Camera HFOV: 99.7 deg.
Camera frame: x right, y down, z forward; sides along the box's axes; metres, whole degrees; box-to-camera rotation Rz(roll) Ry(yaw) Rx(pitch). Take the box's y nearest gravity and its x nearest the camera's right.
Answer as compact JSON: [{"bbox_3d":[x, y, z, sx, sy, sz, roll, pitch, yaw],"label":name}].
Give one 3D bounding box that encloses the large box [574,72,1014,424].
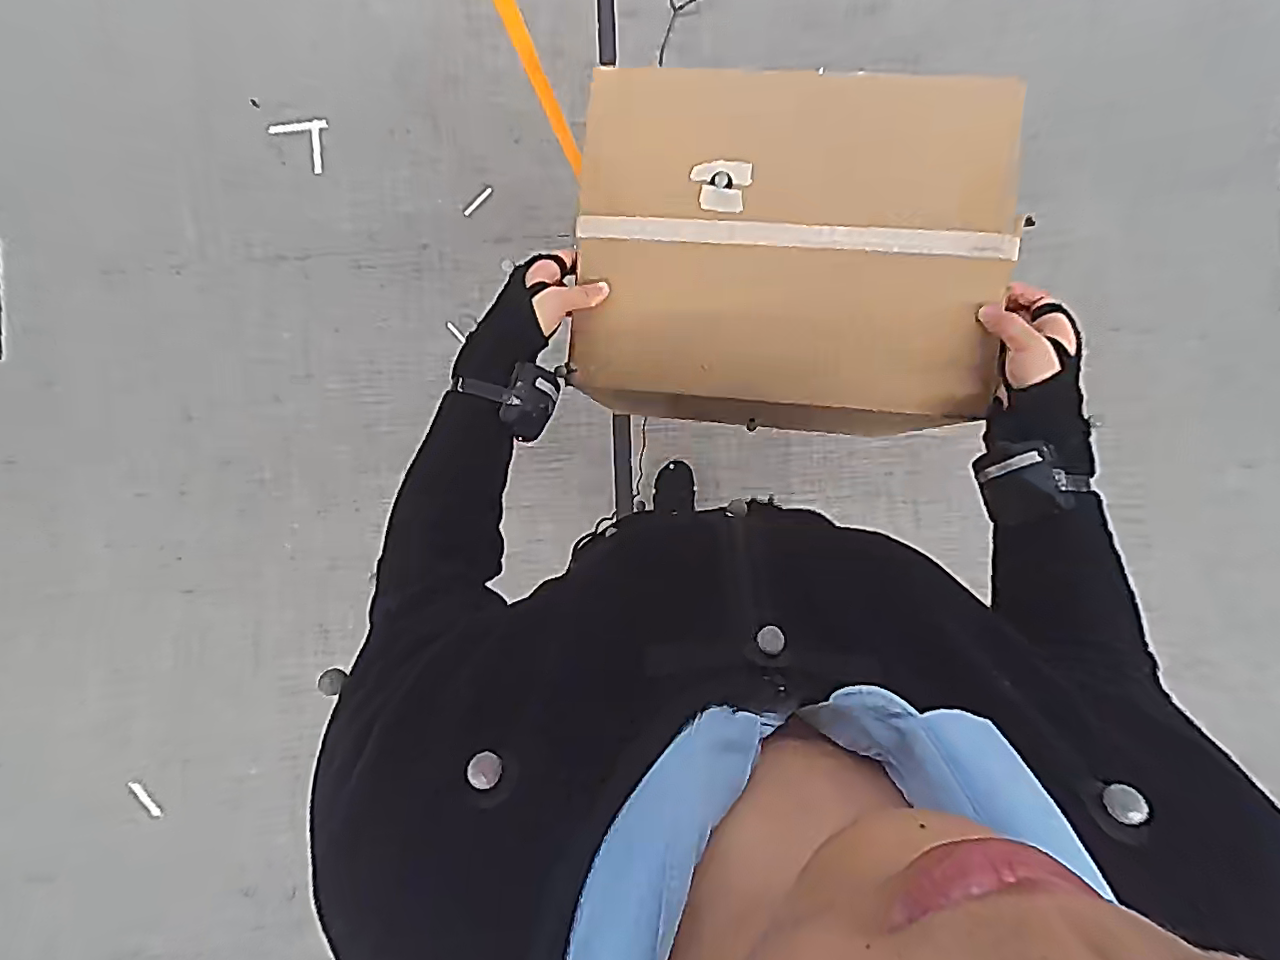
[{"bbox_3d":[0.159,-0.242,0.673,0.408,0.320,0.320,5,91,7],"label":"large box"}]
